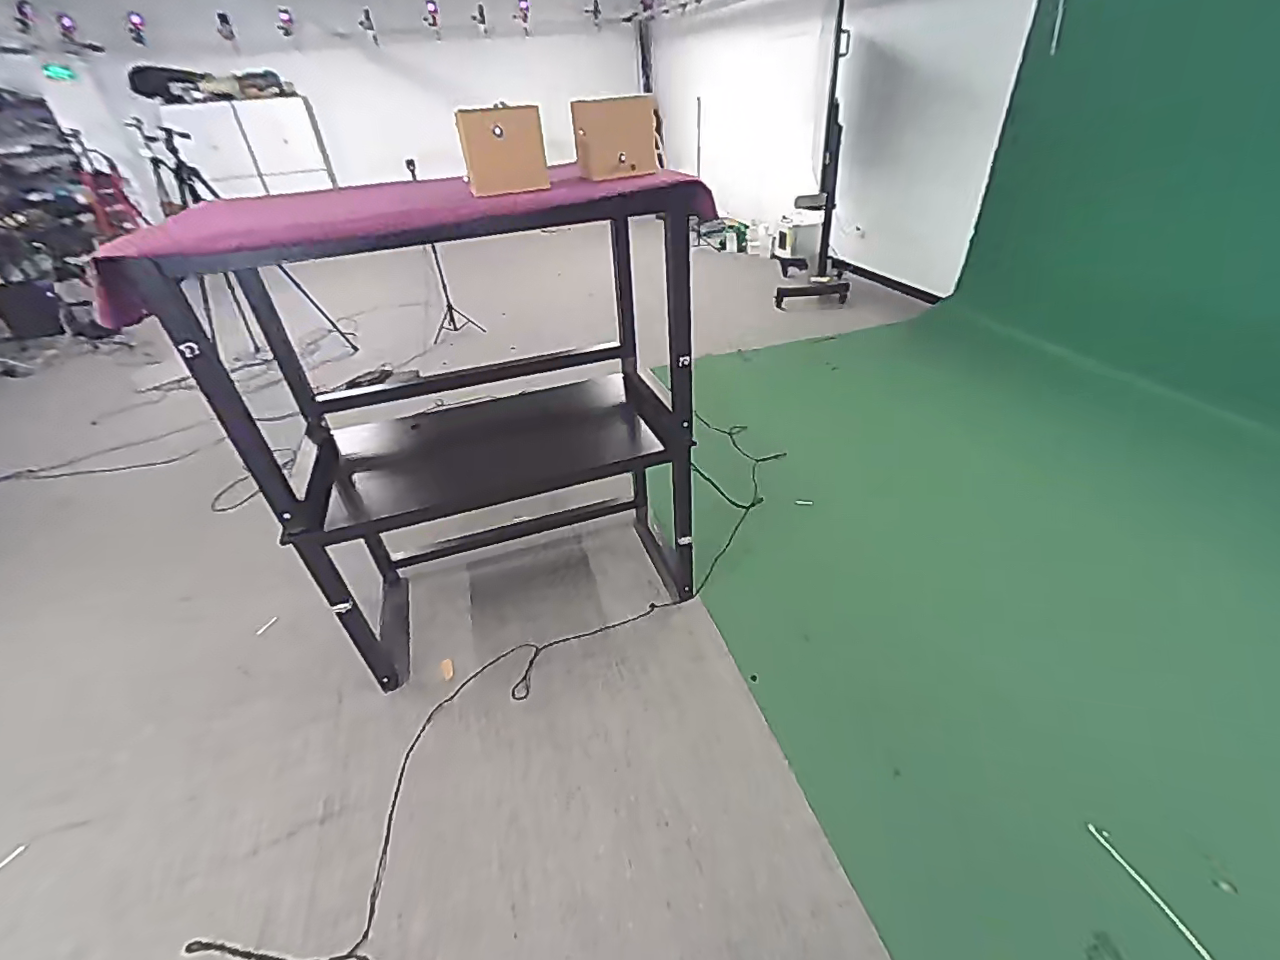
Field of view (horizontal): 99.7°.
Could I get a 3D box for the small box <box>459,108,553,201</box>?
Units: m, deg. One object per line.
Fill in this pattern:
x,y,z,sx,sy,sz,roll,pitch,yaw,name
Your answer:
-0.317,-0.766,1.276,0.179,0.176,0.168,-14,36,-13,small box
